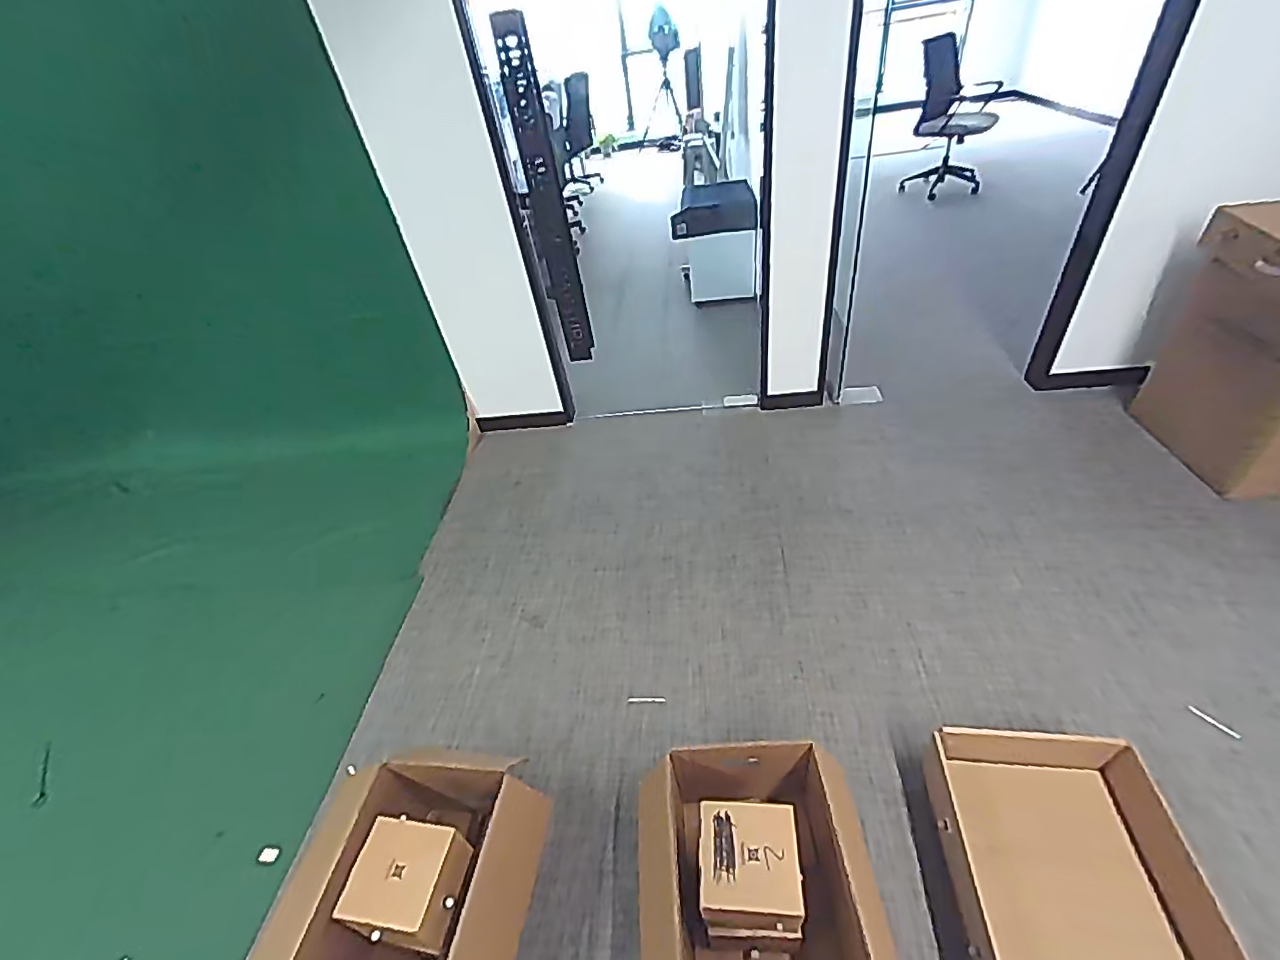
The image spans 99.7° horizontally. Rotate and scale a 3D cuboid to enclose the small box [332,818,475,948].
[{"bbox_3d":[-0.452,0.799,1.071,0.179,0.176,0.168,1,41,11],"label":"small box"}]
